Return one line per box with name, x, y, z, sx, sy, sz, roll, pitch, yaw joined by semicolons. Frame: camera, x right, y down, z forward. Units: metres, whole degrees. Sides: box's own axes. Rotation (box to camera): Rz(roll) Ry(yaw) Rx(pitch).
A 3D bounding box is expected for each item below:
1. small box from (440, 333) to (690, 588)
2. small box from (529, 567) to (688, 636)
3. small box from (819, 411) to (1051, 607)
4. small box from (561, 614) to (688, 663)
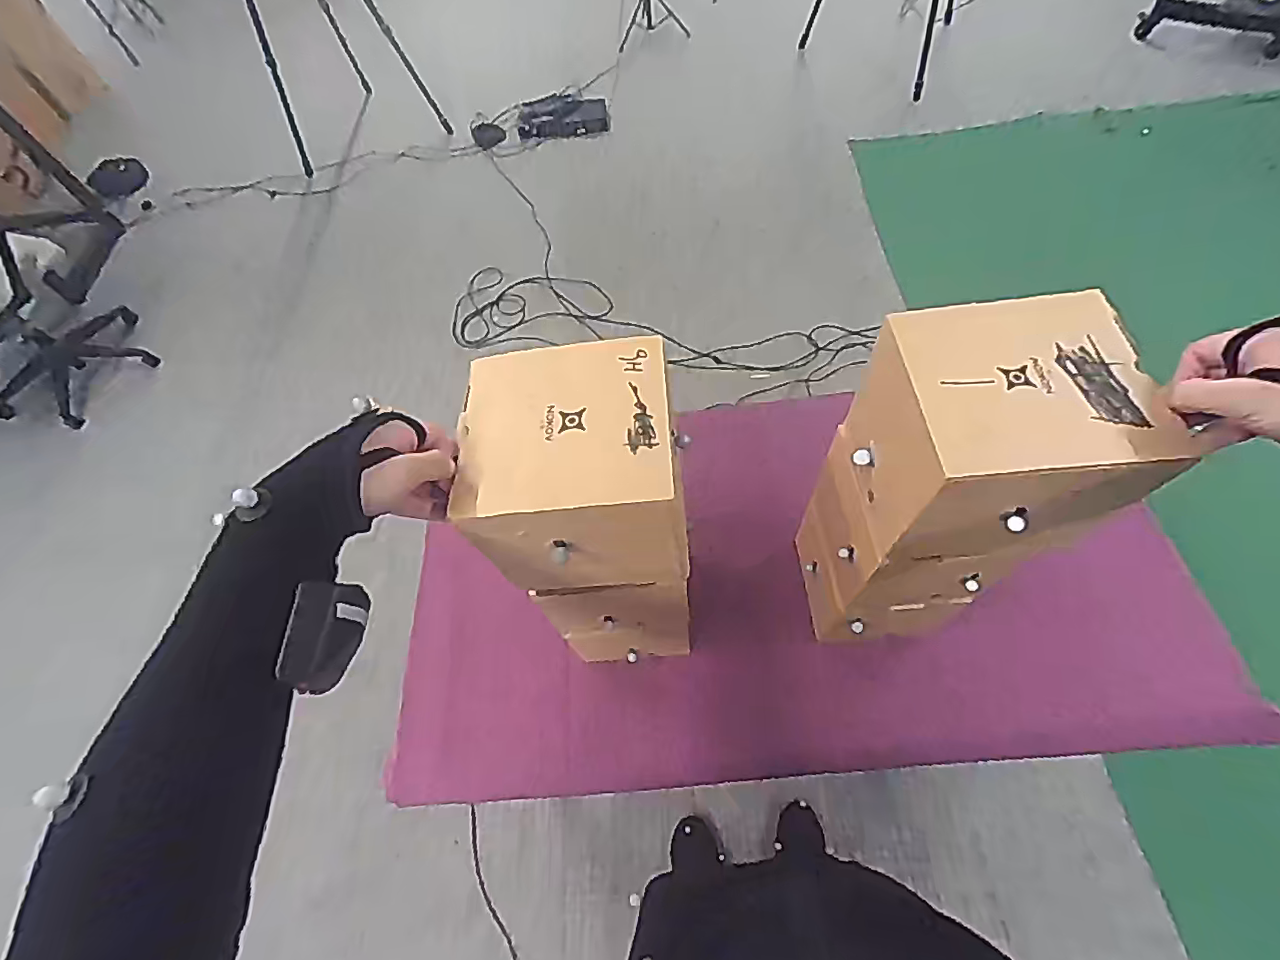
small box;-0.051;-0.007;0.496;0.179;0.176;0.168;-5;59;7
small box;-0.033;0.079;0.662;0.168;0.176;0.179;-7;61;2
small box;0.324;0.044;0.640;0.168;0.176;0.179;-6;59;3
small box;-0.017;0.161;0.801;0.168;0.176;0.179;-6;60;4
